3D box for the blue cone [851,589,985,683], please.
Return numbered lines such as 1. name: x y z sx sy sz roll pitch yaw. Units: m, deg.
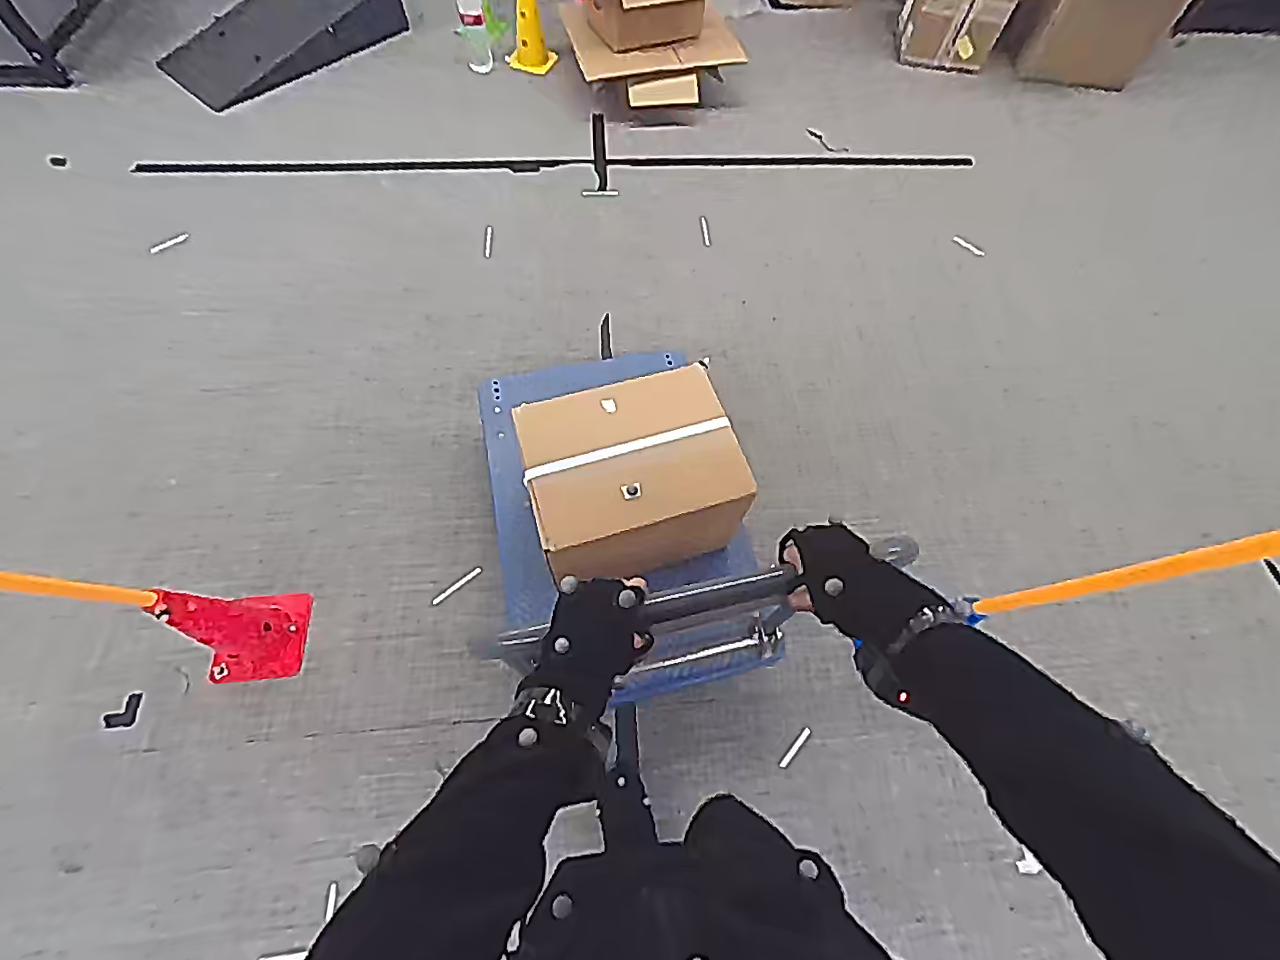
1. blue cone: 0.652 0.327 1.216 0.193 0.380 0.192 -6 62 -7
